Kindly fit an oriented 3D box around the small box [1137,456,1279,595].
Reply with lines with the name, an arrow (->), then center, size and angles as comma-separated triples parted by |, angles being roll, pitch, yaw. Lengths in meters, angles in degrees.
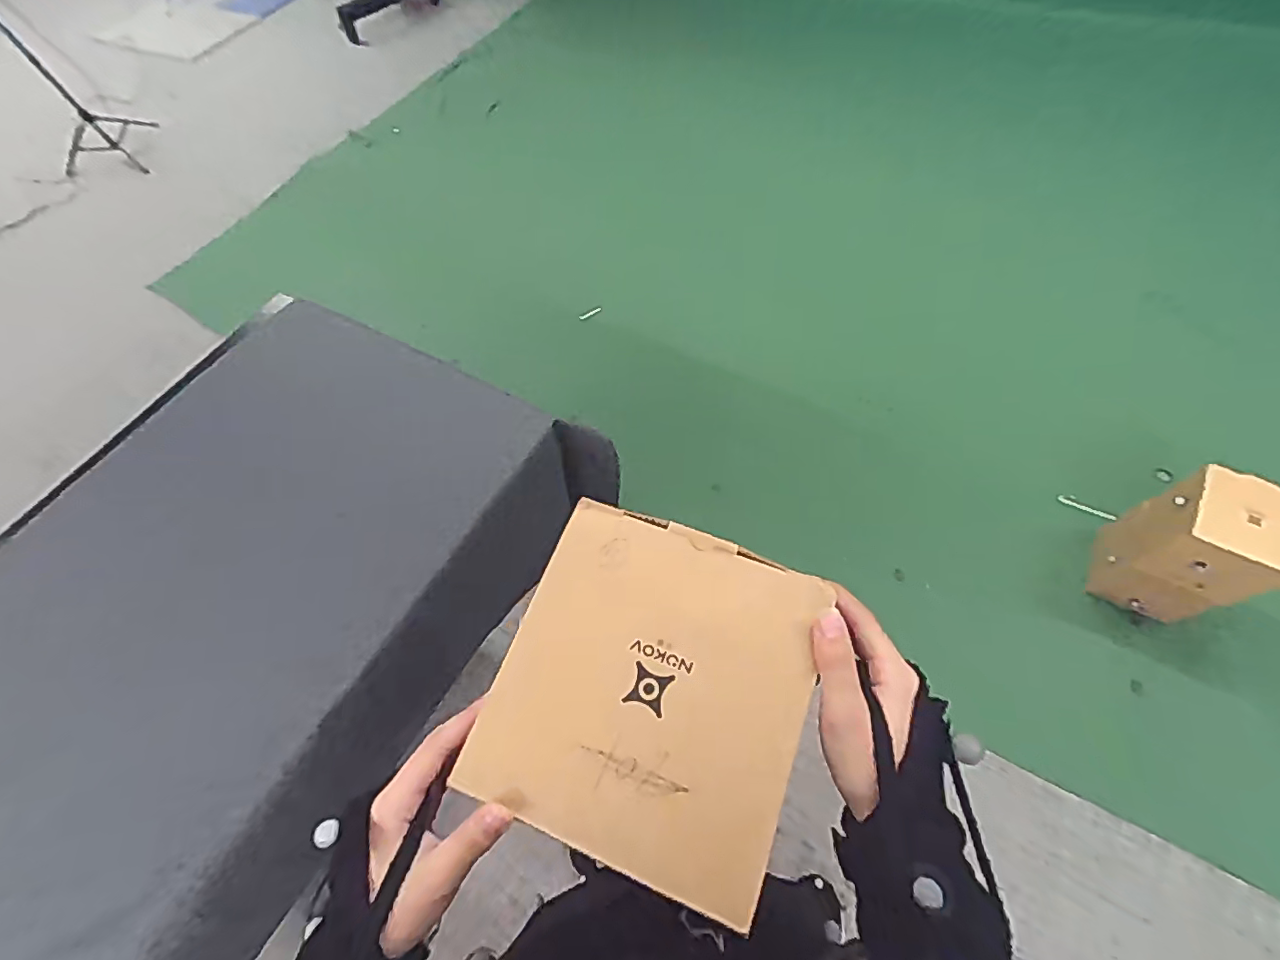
small box -> 1.103, 0.093, 1.027 | 0.168, 0.176, 0.179 | 27, 68, 21
